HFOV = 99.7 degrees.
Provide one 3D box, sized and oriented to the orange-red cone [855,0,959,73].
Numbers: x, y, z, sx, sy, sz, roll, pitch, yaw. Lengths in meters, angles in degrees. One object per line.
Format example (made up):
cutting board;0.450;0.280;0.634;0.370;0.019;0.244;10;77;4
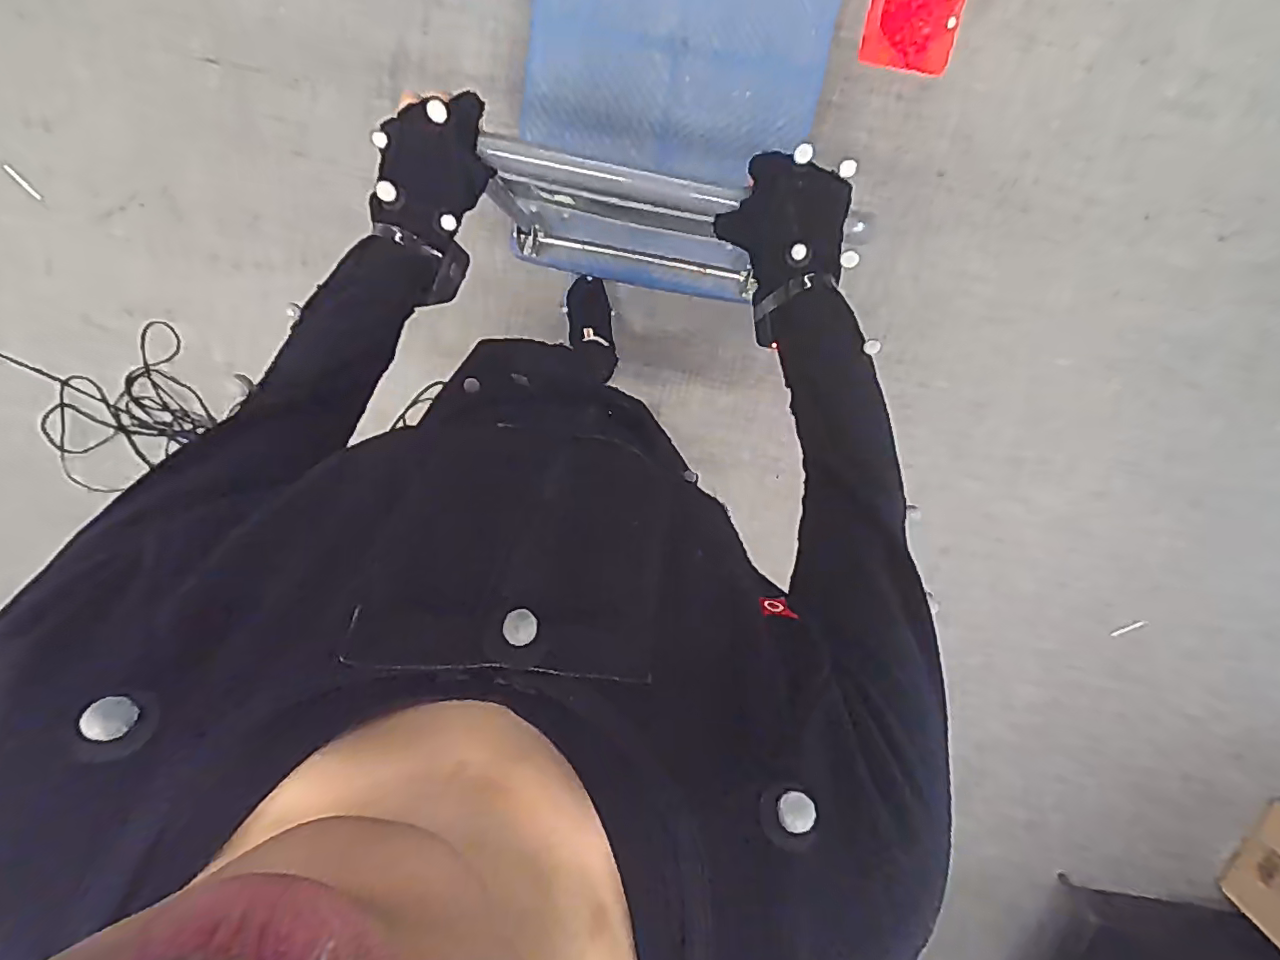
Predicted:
orange-red cone;0.581;-0.966;1.016;0.199;0.360;0.198;11;107;-1
